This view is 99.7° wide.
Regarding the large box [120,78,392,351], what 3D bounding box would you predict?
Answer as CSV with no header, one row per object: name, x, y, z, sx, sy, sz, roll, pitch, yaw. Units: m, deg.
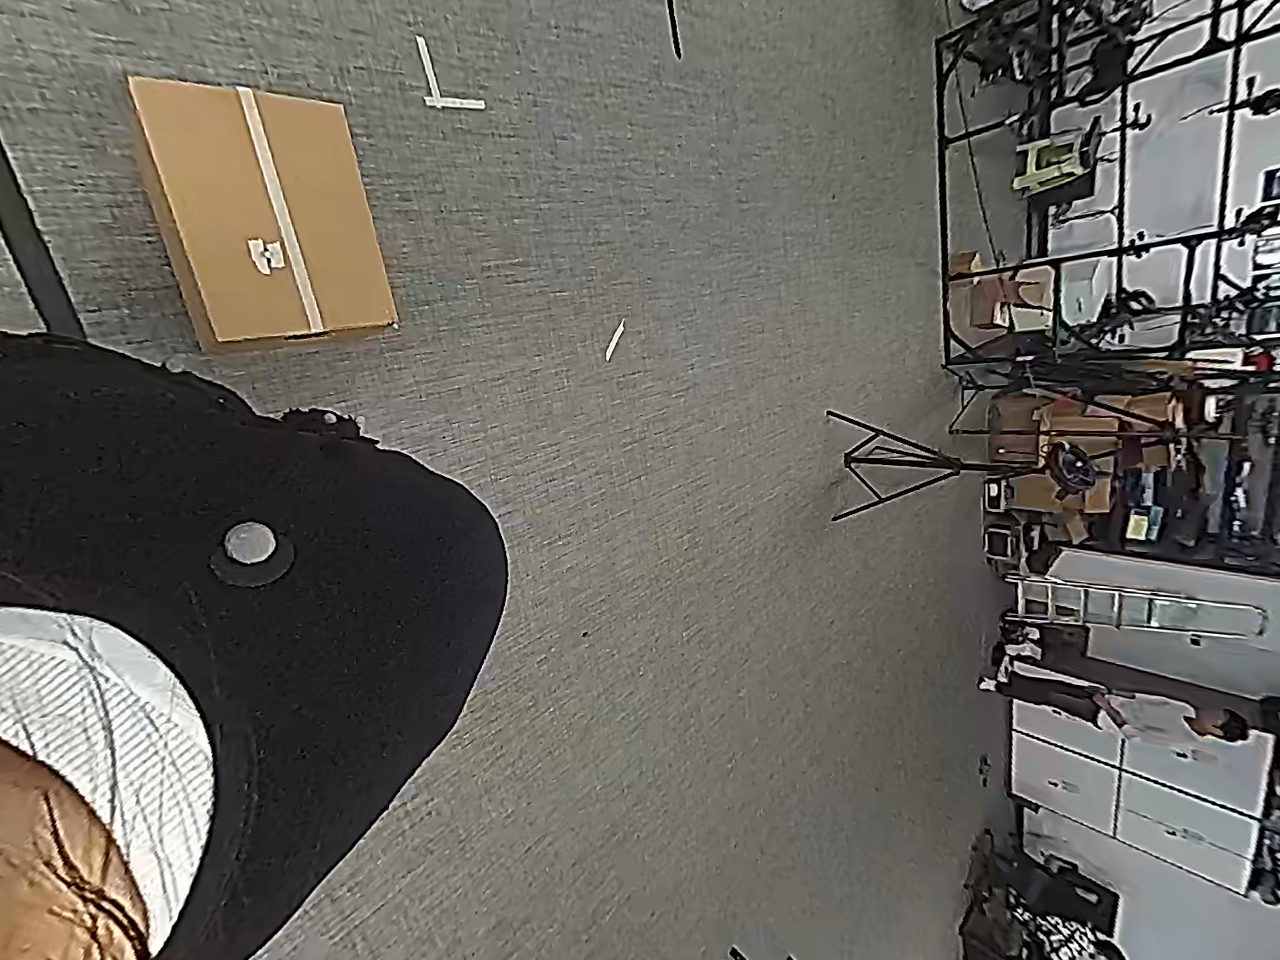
large box,-0.756,-0.490,1.080,0.320,0.320,0.408,-22,110,-38
